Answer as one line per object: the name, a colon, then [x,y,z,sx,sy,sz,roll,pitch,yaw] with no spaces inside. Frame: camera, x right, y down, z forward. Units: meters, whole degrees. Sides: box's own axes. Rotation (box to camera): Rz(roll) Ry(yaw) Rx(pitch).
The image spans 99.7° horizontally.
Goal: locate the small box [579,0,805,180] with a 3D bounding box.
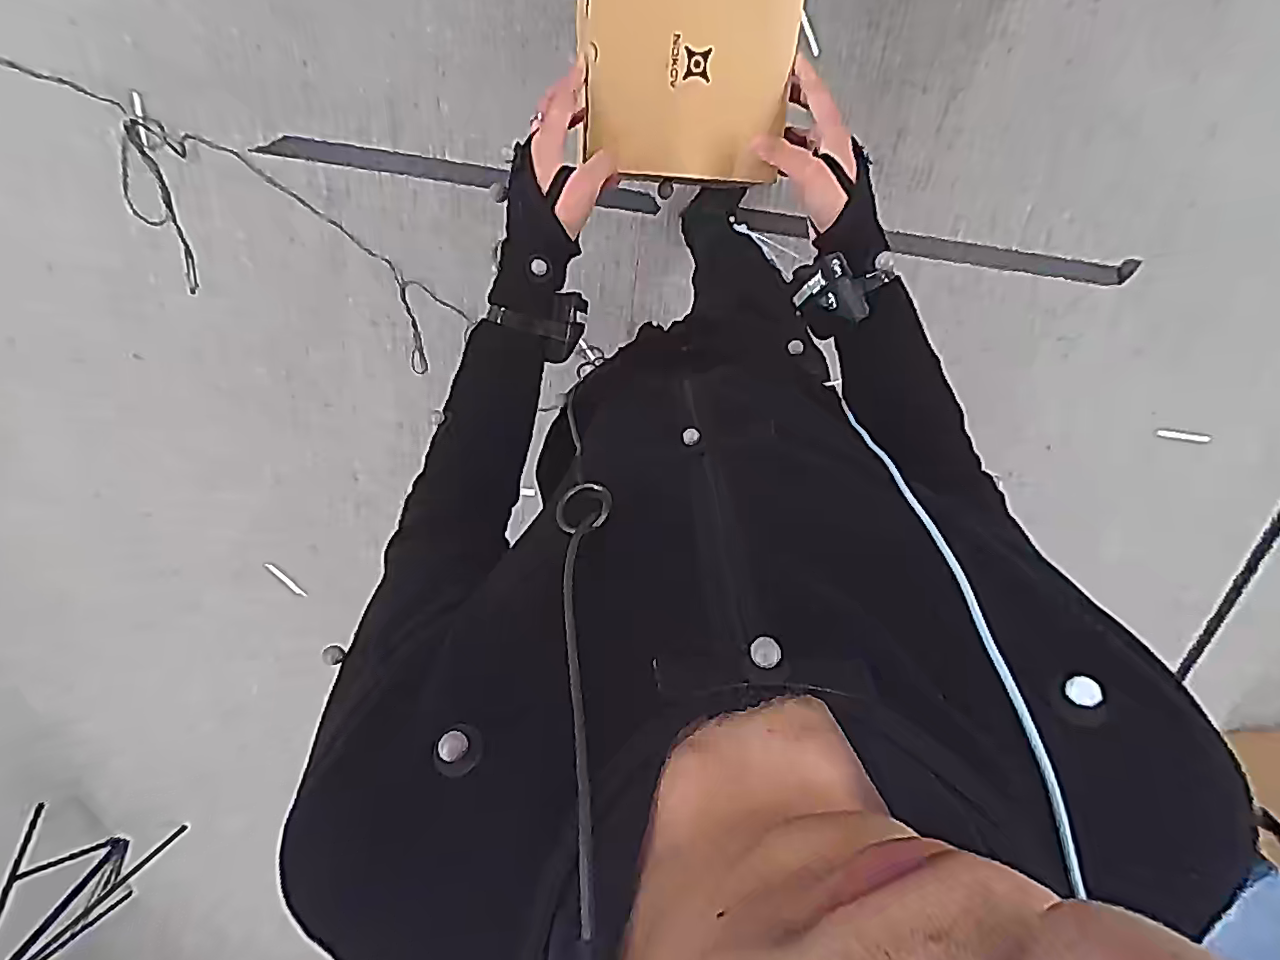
small box: [0.034,-0.385,0.511,0.179,0.176,0.168,0,118,-7]
